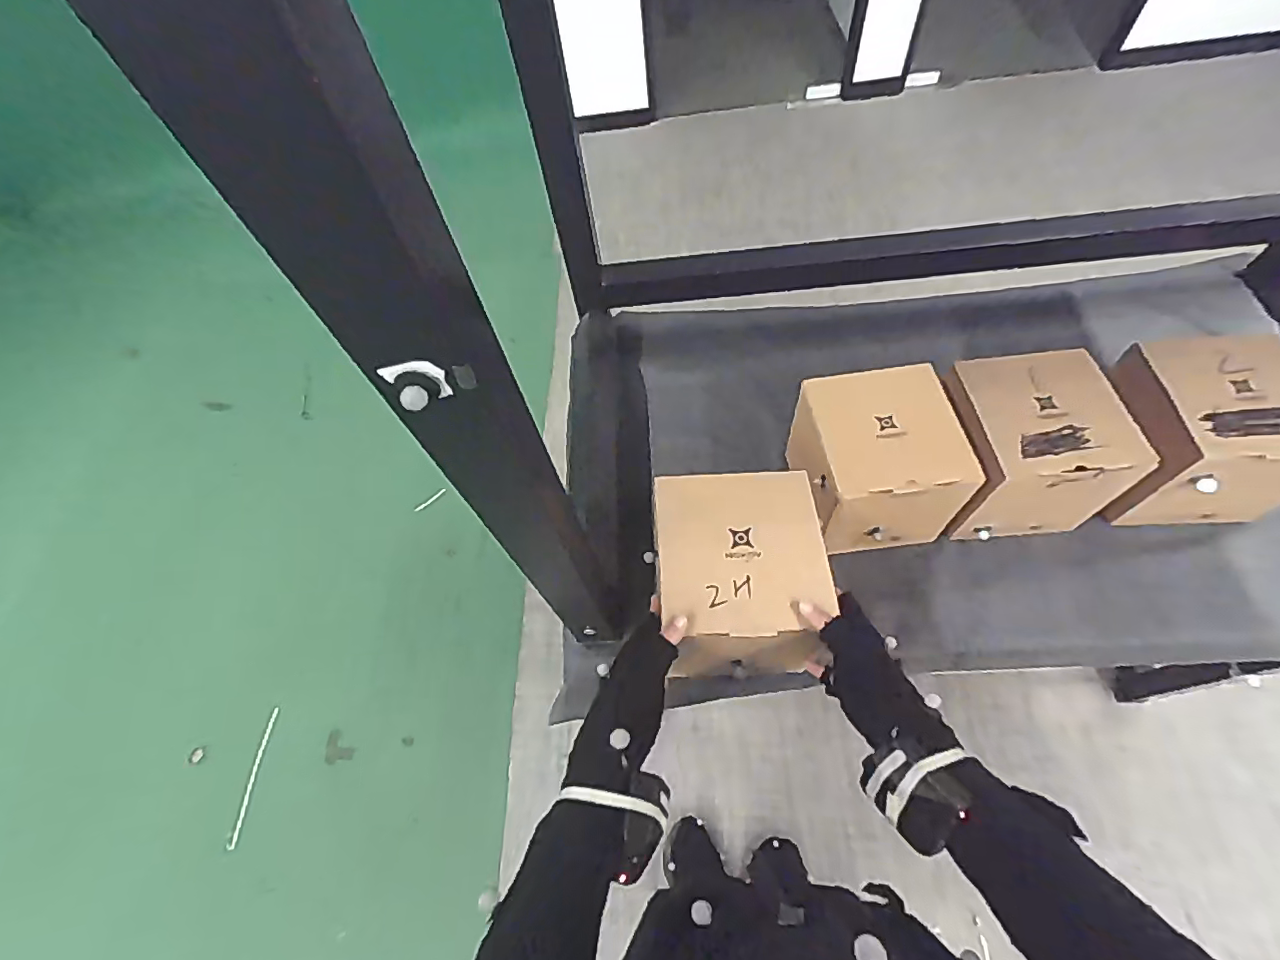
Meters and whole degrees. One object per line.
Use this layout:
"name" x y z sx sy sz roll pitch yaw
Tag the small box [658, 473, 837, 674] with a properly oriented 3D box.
"small box" 0.105 0.111 0.619 0.168 0.176 0.179 -3 58 2
